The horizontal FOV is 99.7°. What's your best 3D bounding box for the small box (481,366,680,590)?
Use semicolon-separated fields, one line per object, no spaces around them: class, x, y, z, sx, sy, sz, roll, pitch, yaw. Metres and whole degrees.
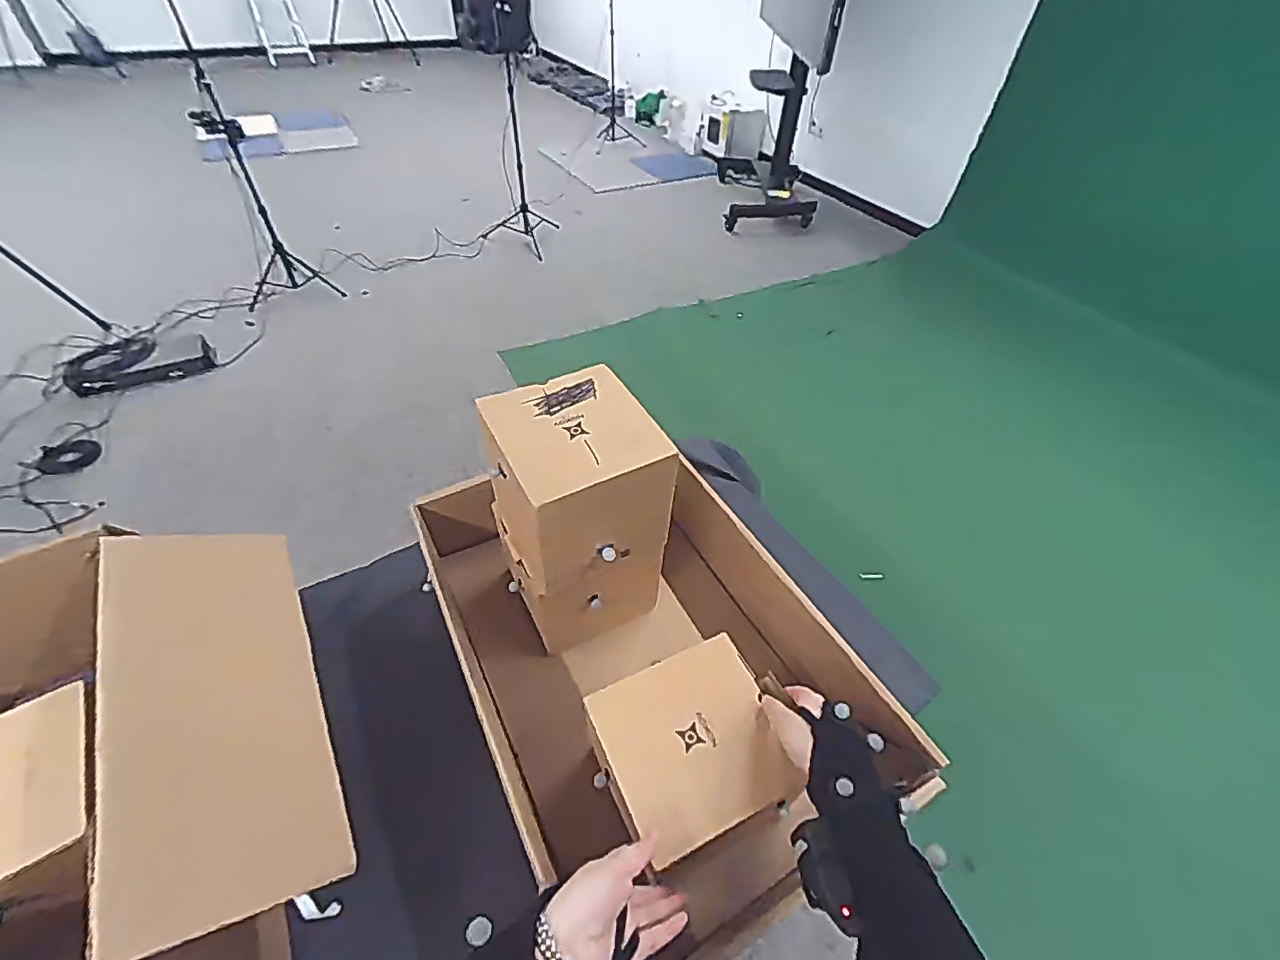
small box;-0.074;-0.003;0.644;0.168;0.176;0.179;-22;54;-21
